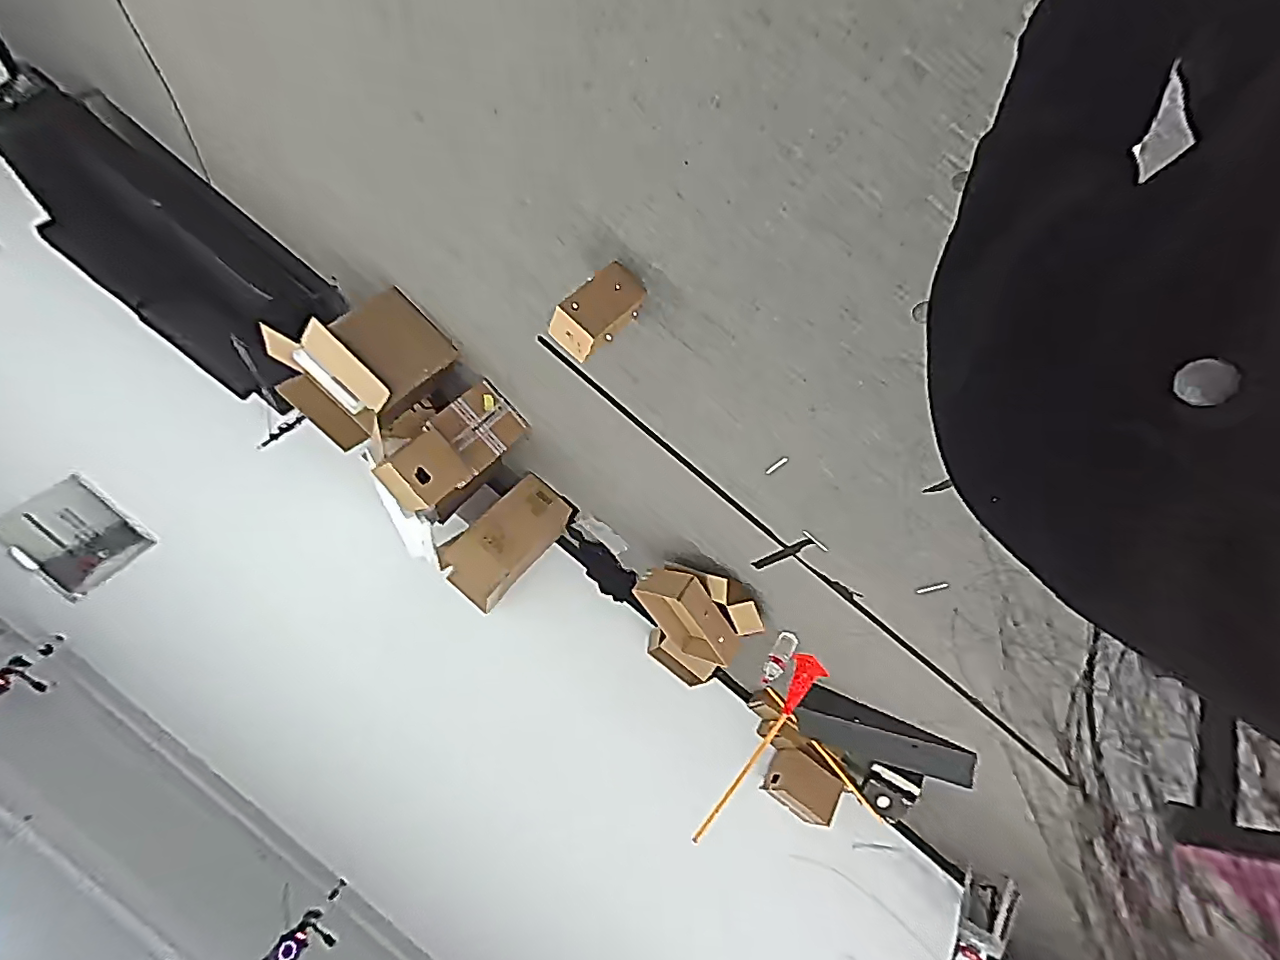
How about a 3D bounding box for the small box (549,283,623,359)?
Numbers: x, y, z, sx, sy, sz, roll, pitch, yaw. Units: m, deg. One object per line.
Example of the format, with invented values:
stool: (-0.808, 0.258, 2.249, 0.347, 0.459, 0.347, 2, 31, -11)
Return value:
small box: (-0.194, -0.580, 1.948, 0.179, 0.176, 0.168, 41, 152, -3)
